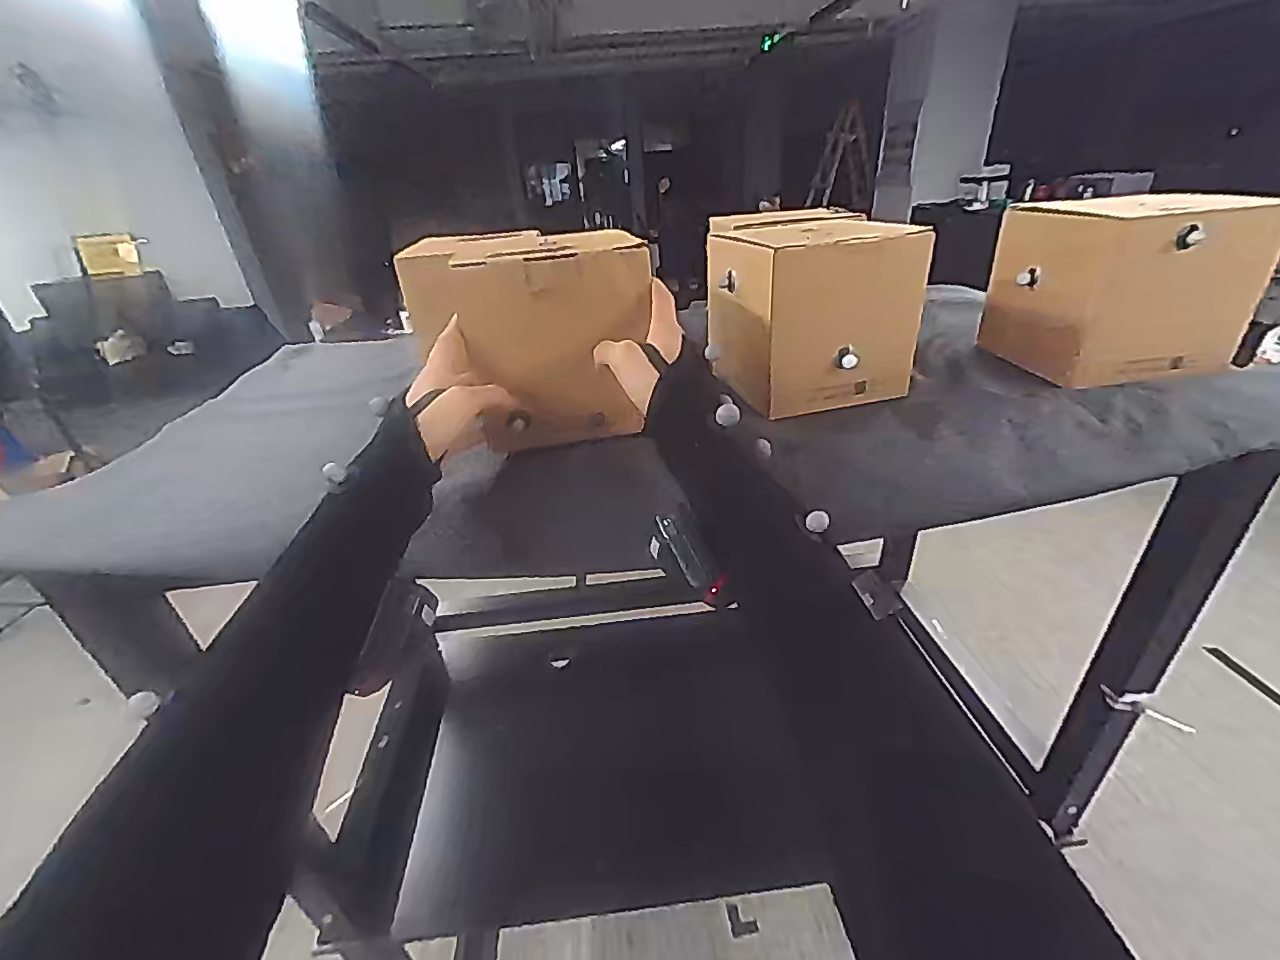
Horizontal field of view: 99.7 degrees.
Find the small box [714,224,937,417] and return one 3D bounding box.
[{"bbox_3d":[0.185,-0.183,0.602,0.168,0.176,0.179,-10,30,-10],"label":"small box"}]

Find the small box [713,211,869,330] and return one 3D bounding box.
[{"bbox_3d":[0.206,-0.292,0.792,0.179,0.176,0.168,-5,29,-2],"label":"small box"}]

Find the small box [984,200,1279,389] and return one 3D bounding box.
[{"bbox_3d":[0.521,-0.208,0.598,0.168,0.176,0.179,-5,29,1],"label":"small box"}]
